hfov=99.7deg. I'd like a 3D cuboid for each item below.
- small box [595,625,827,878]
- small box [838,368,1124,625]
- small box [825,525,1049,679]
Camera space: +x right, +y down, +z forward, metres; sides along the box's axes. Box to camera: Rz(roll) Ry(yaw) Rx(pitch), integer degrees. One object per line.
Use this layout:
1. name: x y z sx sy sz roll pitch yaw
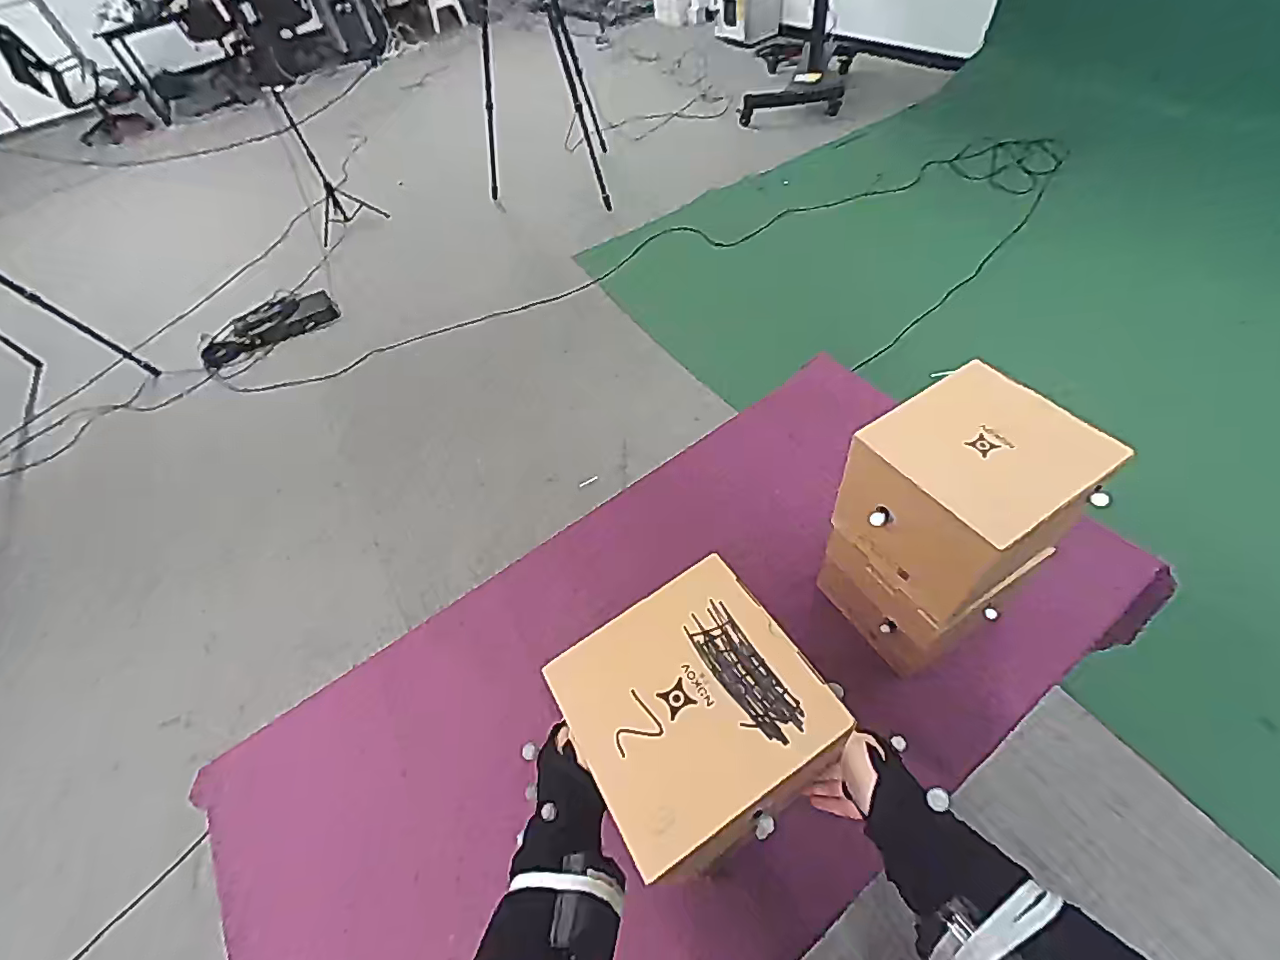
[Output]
1. small box: 0.081 0.302 0.596 0.179 0.176 0.168 -35 54 -13
2. small box: 0.331 0.021 0.570 0.179 0.176 0.168 -30 54 -13
3. small box: 0.358 0.124 0.694 0.179 0.176 0.168 -28 53 -12
